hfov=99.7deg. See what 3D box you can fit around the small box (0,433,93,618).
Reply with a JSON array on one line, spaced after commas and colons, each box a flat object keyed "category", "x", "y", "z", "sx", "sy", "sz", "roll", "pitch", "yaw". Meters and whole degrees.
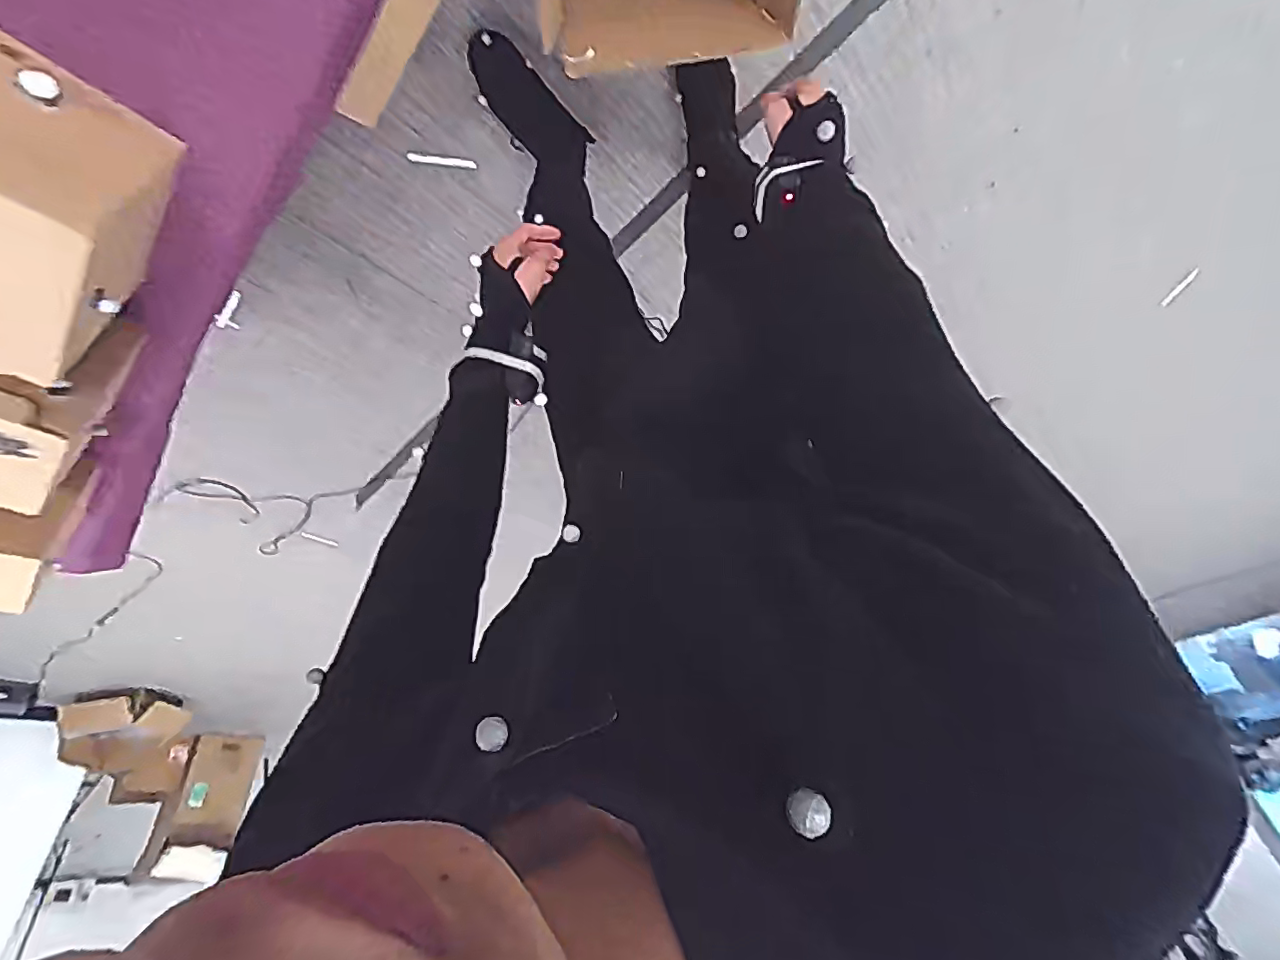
[{"category": "small box", "x": -0.851, "y": 0.051, "z": 0.686, "sx": 0.179, "sy": 0.176, "sz": 0.168, "roll": -35, "pitch": 136, "yaw": 29}]
